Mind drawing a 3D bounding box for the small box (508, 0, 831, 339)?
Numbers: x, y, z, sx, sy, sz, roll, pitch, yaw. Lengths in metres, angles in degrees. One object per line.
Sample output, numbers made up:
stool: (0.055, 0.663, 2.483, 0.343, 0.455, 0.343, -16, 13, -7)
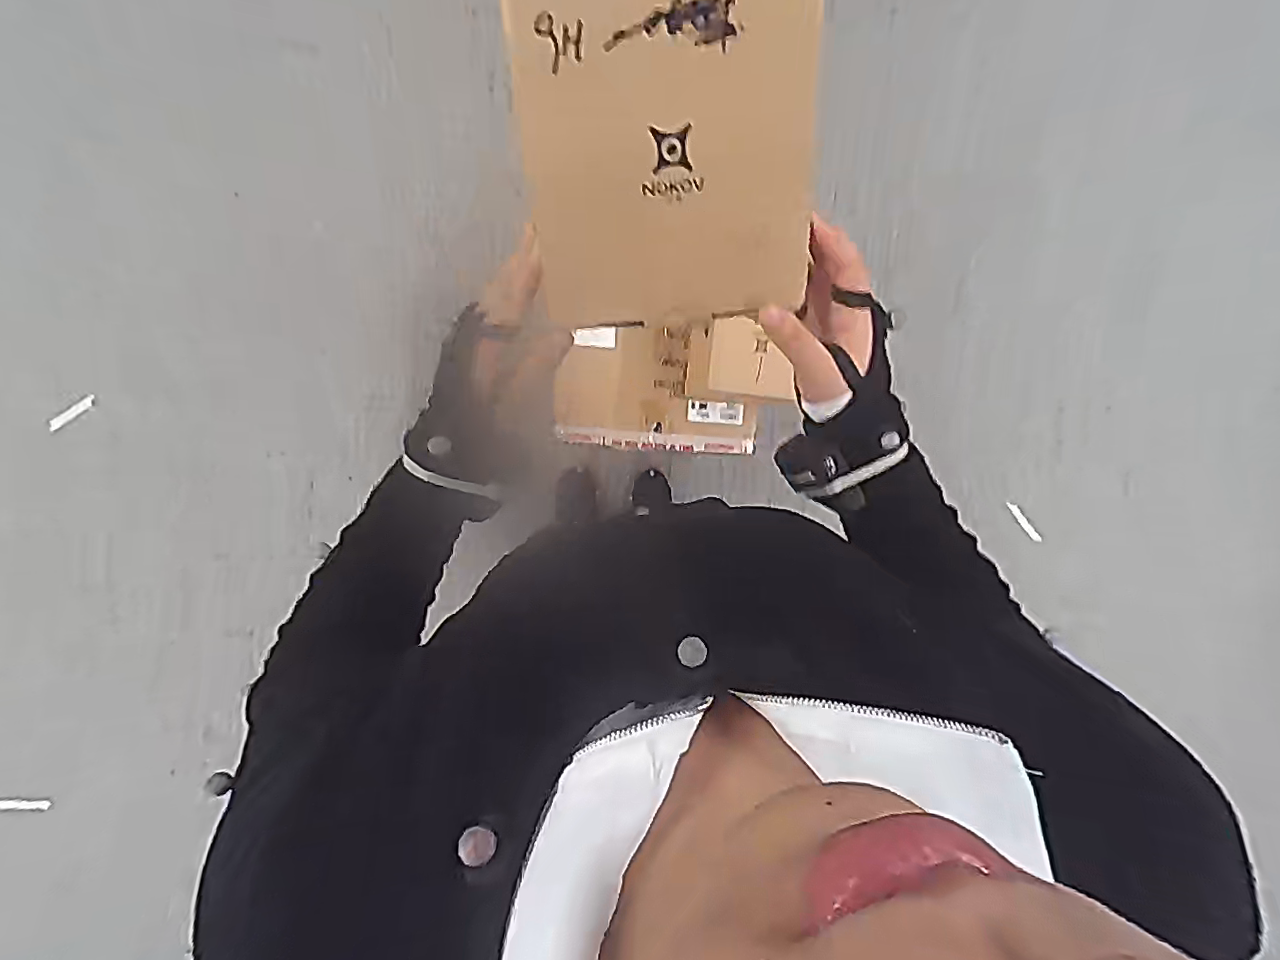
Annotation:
small box: (0.018, -0.213, 0.380, 0.168, 0.176, 0.179, -5, 119, 0)

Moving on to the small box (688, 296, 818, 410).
small box: (0.185, -0.221, 0.938, 0.168, 0.176, 0.179, 6, 94, -8)
